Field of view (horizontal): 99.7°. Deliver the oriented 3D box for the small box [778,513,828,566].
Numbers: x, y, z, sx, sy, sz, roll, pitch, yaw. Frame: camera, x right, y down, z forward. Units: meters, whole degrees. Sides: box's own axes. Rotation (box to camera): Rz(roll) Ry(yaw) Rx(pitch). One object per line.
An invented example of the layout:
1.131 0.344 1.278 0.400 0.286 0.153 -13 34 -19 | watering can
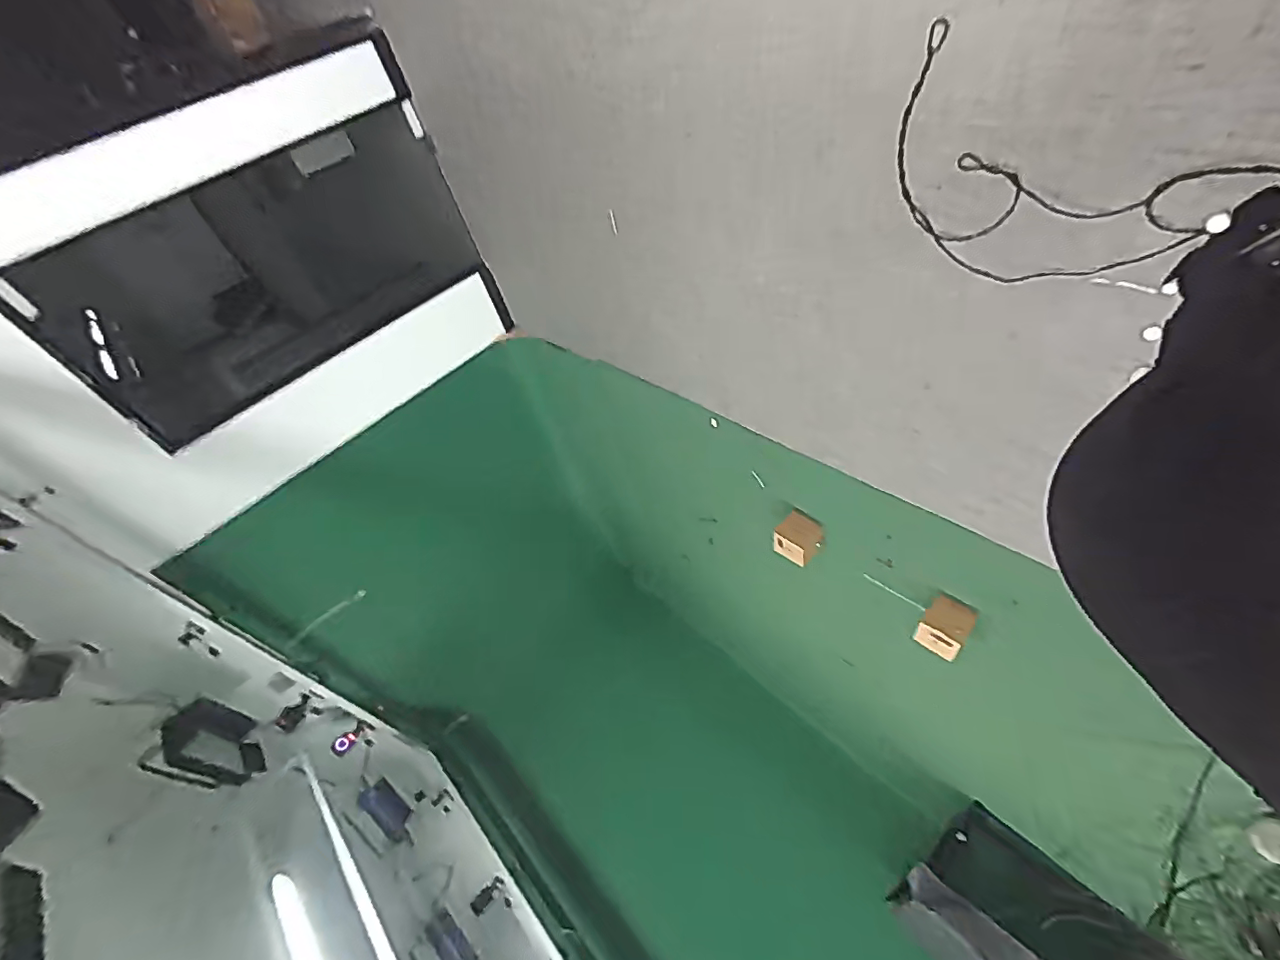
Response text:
0.813 0.289 2.708 0.179 0.176 0.168 32 154 35 | small box
